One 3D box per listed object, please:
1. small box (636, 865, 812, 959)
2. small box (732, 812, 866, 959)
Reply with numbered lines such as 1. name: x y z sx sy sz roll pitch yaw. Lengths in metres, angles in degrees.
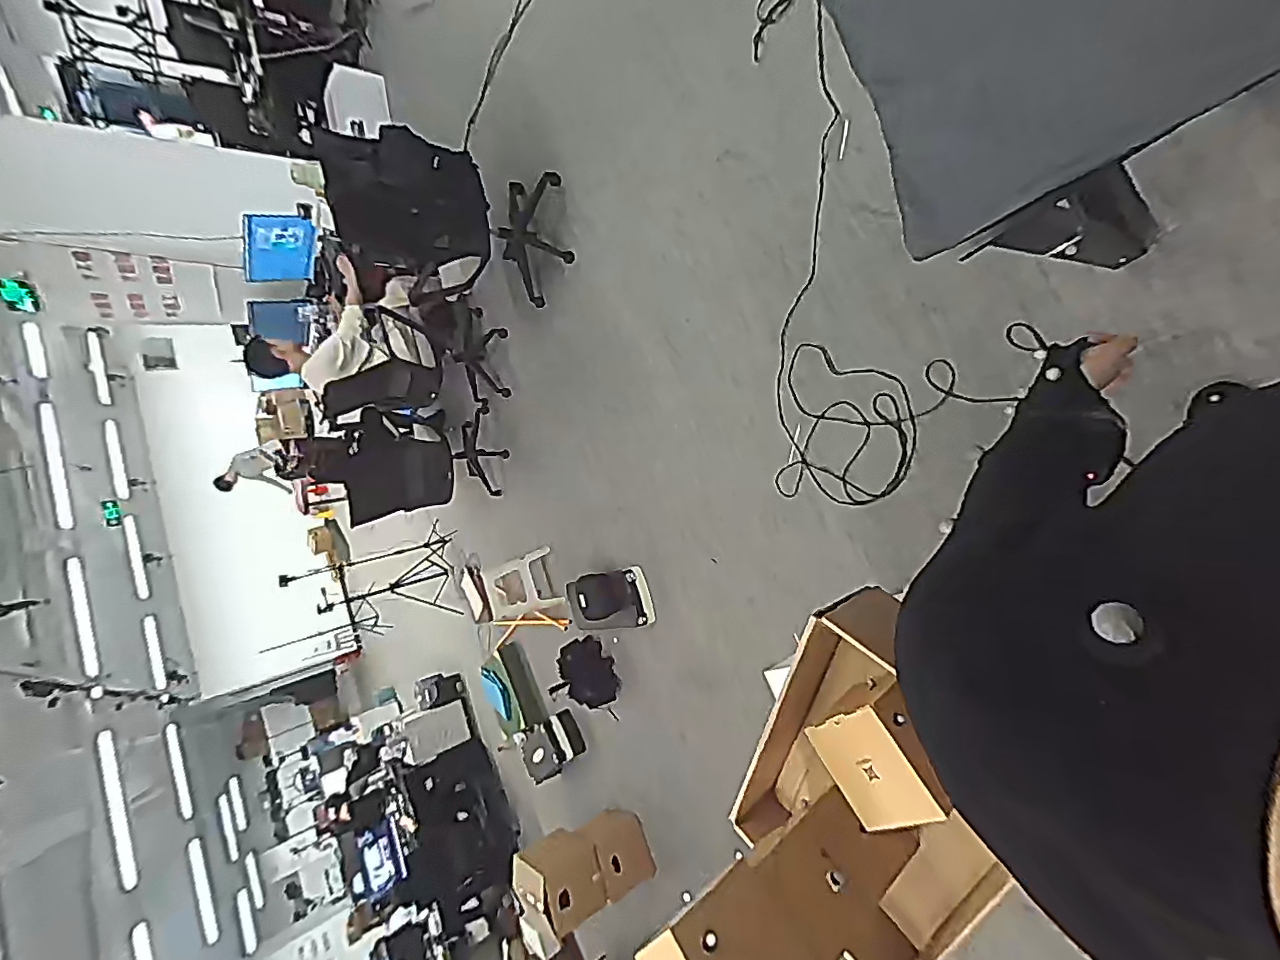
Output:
1. small box: 0.127 0.734 0.828 0.179 0.176 0.168 47 133 30
2. small box: 0.253 0.721 0.936 0.168 0.176 0.179 50 133 28
